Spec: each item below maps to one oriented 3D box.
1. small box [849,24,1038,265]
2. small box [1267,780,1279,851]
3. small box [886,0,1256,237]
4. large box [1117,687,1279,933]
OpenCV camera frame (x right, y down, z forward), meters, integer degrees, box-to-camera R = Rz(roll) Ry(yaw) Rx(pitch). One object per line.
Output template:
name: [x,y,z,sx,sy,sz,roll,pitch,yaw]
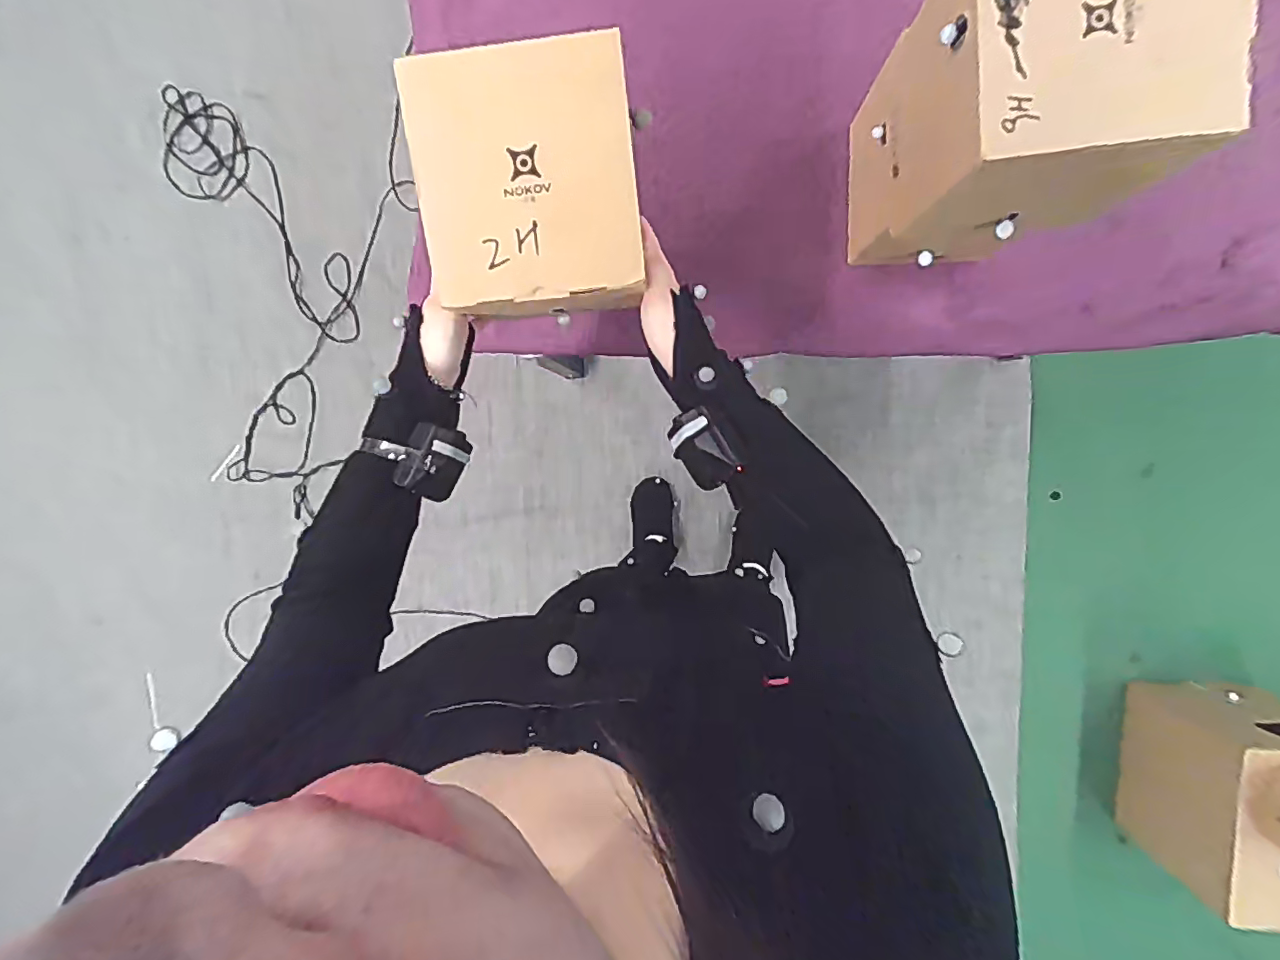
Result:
small box: [0.339,-0.354,0.595,0.168,0.176,0.179,0,95,5]
small box: [1.377,0.685,1.021,0.179,0.176,0.168,2,96,5]
small box: [0.320,-0.312,0.436,0.179,0.176,0.168,-3,95,5]
large box: [1.408,0.744,1.268,0.320,0.320,0.408,0,96,5]
